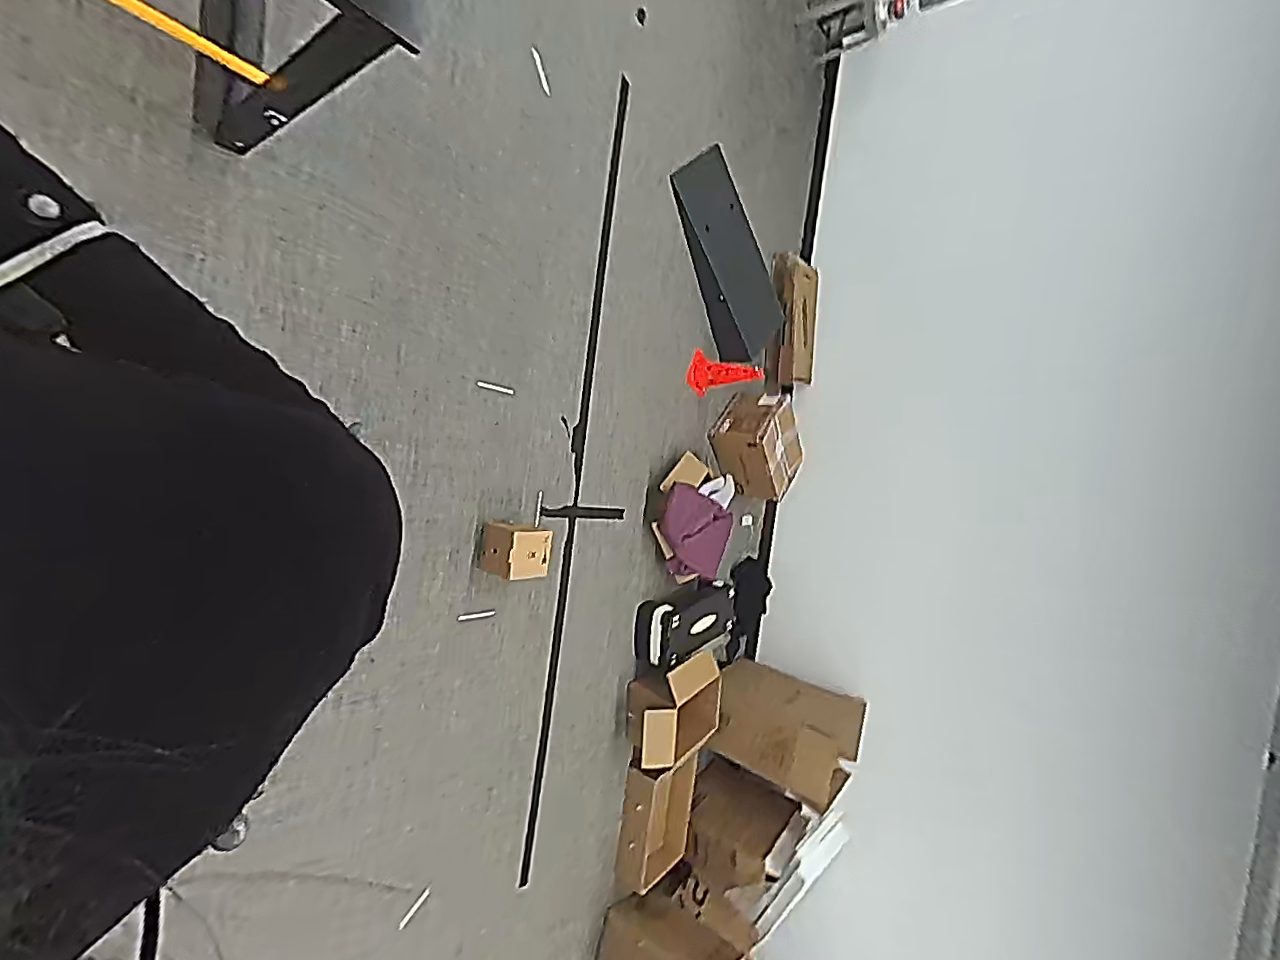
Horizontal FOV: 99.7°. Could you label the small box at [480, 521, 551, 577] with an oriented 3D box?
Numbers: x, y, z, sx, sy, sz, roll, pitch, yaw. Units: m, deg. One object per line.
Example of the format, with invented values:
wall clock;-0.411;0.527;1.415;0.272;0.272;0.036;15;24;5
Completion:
small box;-0.439;0.240;1.897;0.179;0.176;0.168;6;93;-52
